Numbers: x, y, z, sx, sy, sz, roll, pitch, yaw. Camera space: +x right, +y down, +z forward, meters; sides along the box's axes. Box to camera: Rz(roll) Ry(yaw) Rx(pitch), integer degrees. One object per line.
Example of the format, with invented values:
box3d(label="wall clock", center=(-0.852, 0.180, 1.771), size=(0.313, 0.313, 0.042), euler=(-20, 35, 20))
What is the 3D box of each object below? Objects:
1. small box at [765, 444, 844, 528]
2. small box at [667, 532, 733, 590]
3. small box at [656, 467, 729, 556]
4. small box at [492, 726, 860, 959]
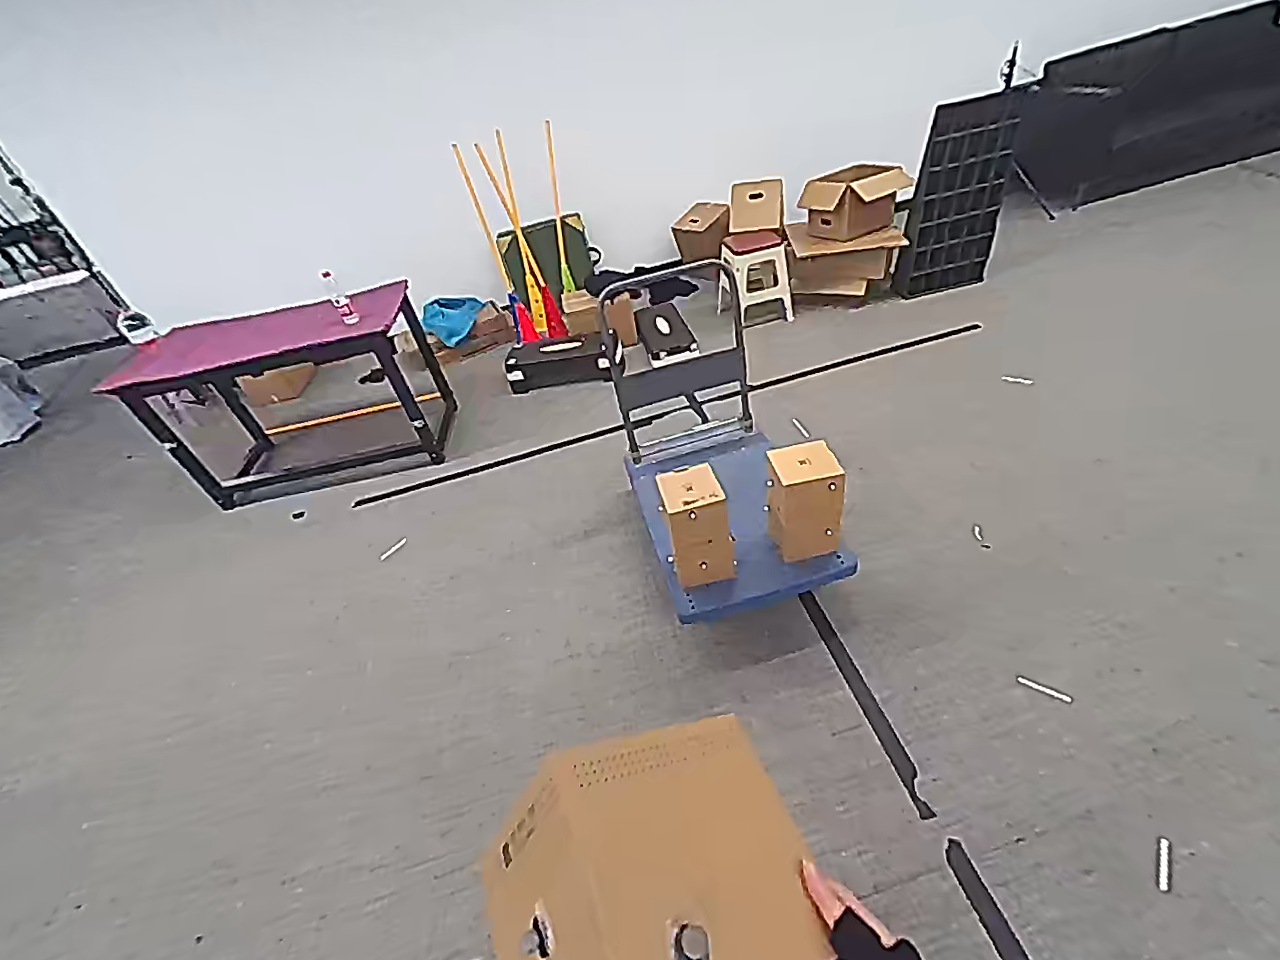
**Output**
box3d(label="small box", center=(0.475, 0.021, 1.575), size=(0.179, 0.176, 0.168), euler=(-11, 39, 0))
box3d(label="small box", center=(0.185, 0.216, 1.677), size=(0.179, 0.176, 0.168), euler=(-14, 39, 0))
box3d(label="small box", center=(0.152, 0.092, 1.574), size=(0.168, 0.176, 0.179), euler=(-15, 38, -2))
box3d(label="small box", center=(0.009, 0.308, 0.394), size=(0.179, 0.168, 0.176), euler=(7, 36, -35))
